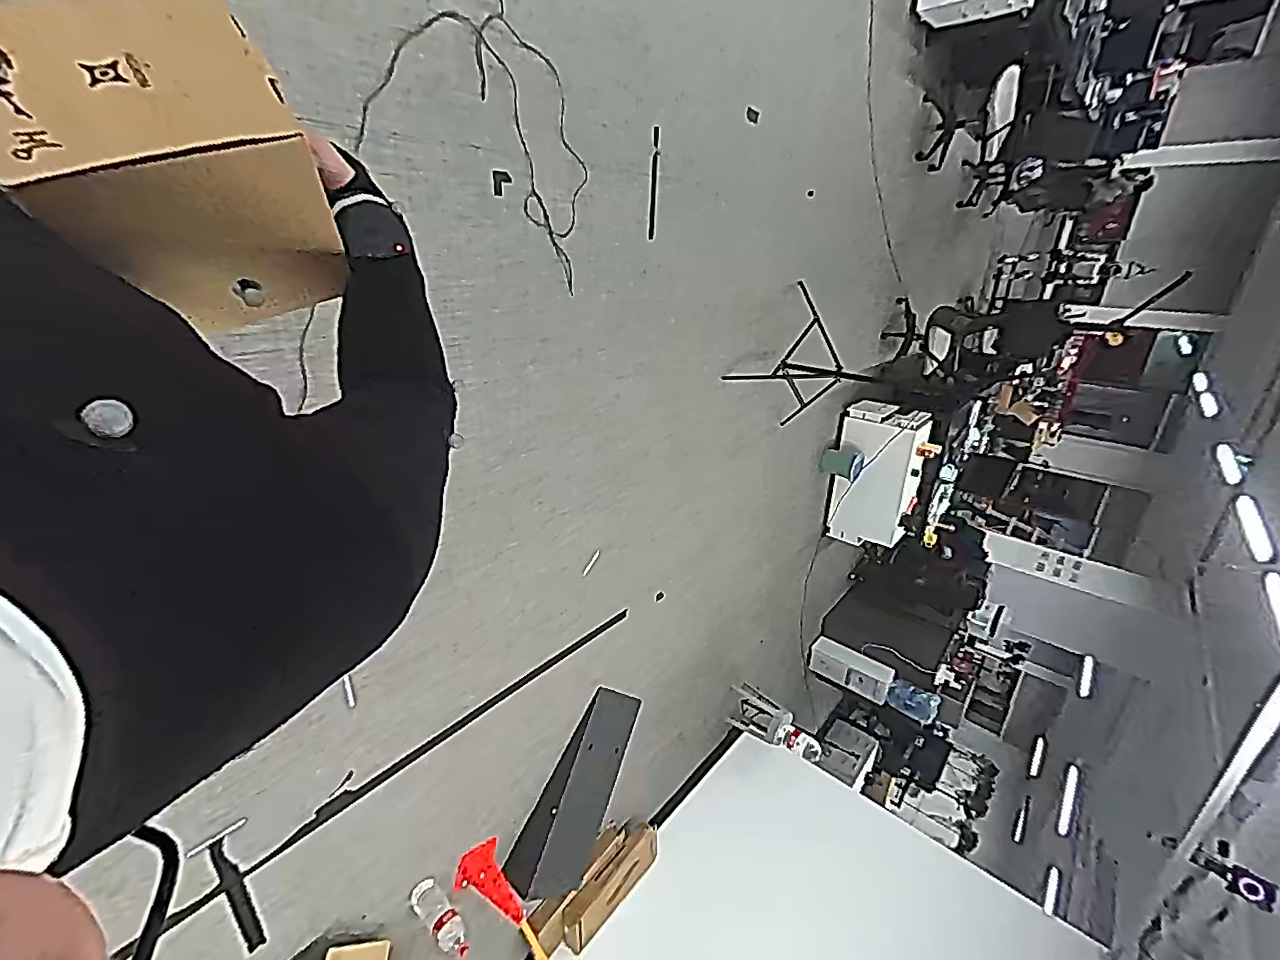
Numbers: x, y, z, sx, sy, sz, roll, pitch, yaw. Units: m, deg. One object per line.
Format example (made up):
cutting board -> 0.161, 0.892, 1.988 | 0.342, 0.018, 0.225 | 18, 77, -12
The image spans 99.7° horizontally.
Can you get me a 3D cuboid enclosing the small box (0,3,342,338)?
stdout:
small box -> -0.381, -0.255, 0.463 | 0.179, 0.168, 0.176 | -28, 167, -24
